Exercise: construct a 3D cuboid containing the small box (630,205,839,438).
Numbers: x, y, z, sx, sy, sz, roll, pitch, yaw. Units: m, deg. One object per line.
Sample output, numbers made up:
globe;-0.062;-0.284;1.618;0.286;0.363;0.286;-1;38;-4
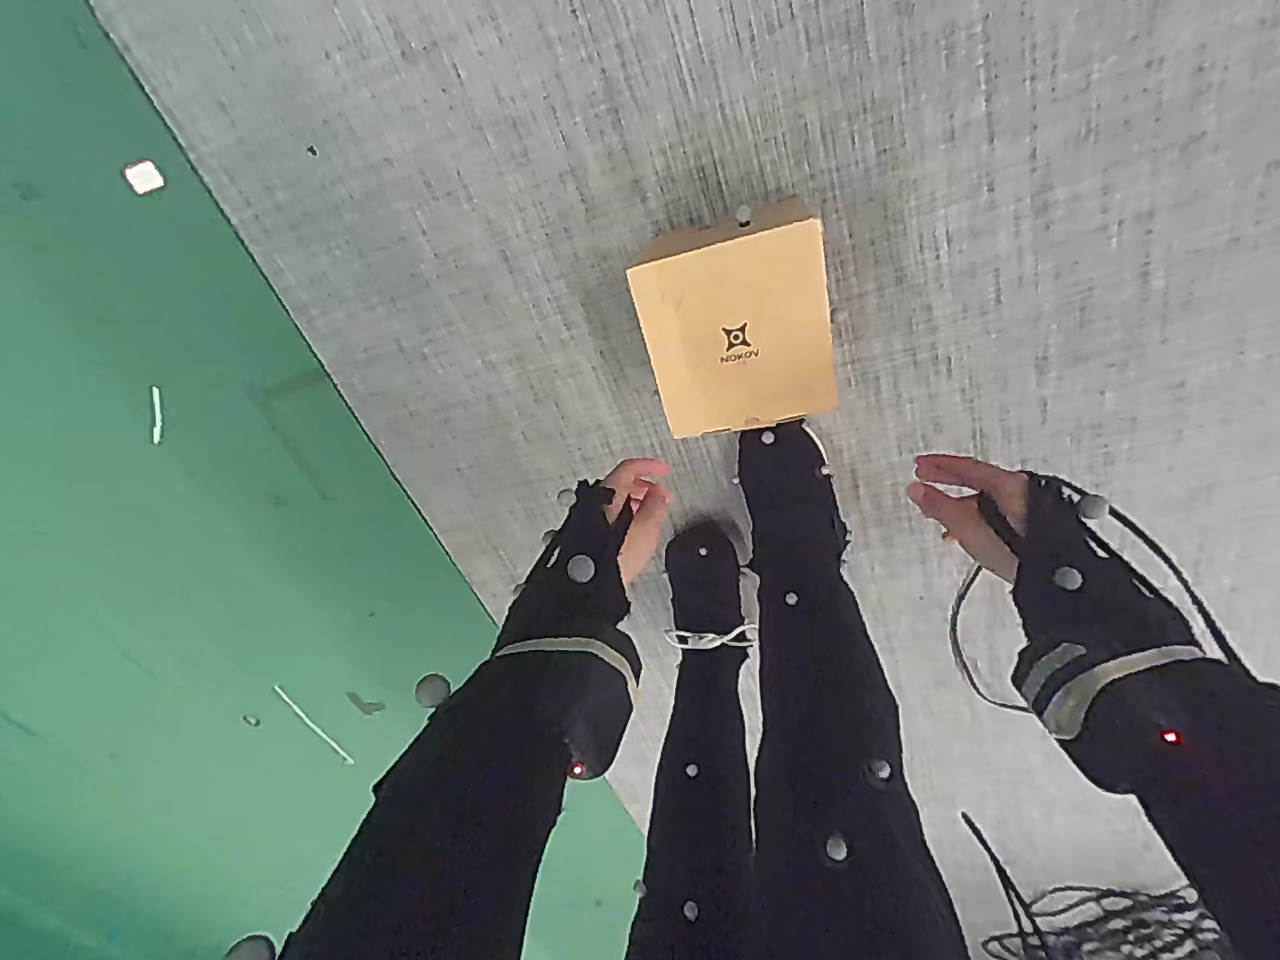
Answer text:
small box;0.100;-0.169;0.557;0.168;0.176;0.179;-9;121;16
